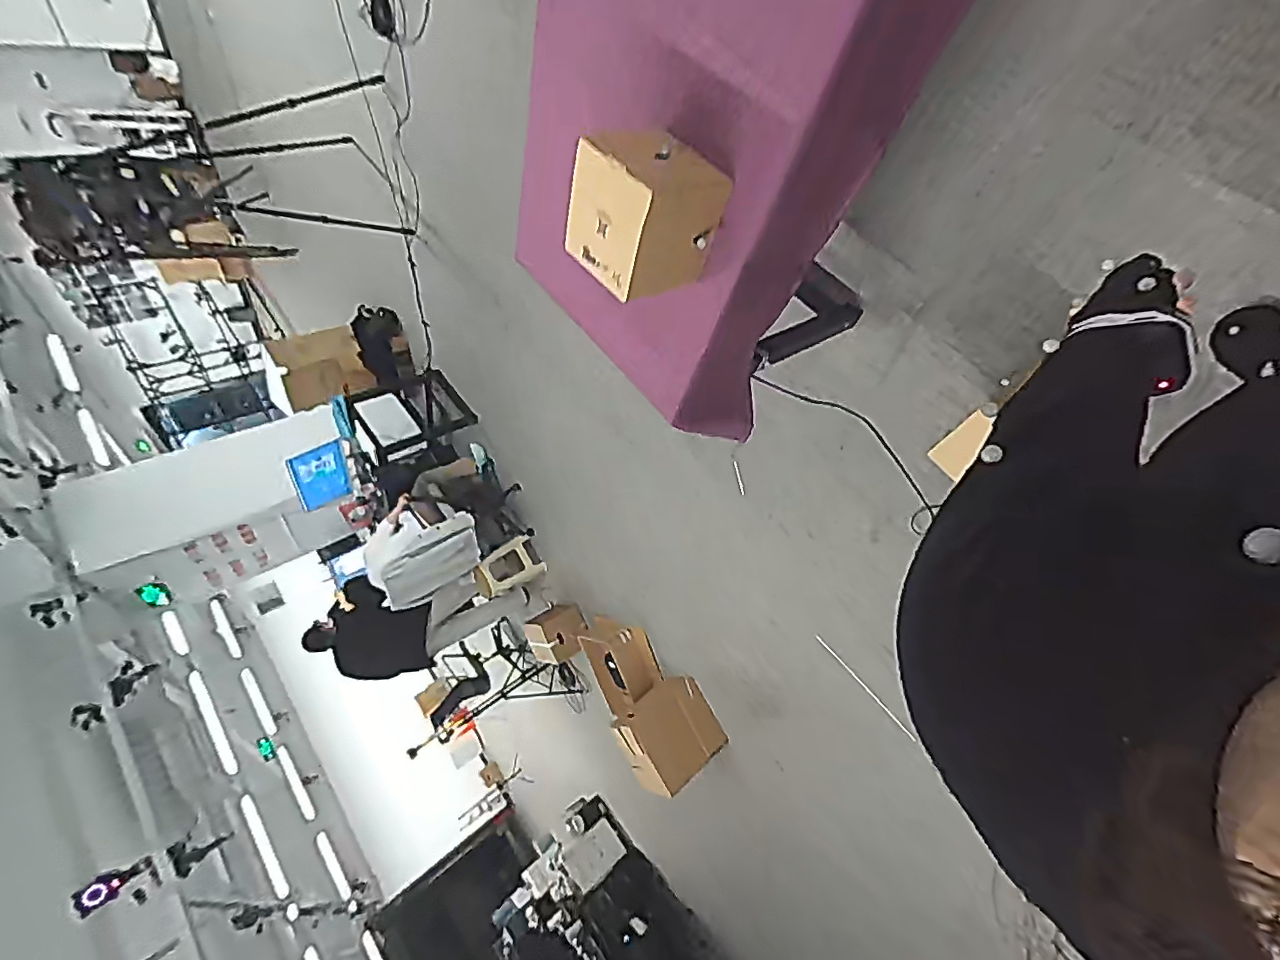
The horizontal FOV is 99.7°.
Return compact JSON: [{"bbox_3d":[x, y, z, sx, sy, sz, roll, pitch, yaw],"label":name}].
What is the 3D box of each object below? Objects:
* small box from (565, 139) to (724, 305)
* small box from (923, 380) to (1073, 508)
[{"bbox_3d":[0.007,-0.411,0.853,0.168,0.176,0.179,48,143,21],"label":"small box"},{"bbox_3d":[0.748,-0.077,1.131,0.168,0.176,0.179,50,144,17],"label":"small box"}]
